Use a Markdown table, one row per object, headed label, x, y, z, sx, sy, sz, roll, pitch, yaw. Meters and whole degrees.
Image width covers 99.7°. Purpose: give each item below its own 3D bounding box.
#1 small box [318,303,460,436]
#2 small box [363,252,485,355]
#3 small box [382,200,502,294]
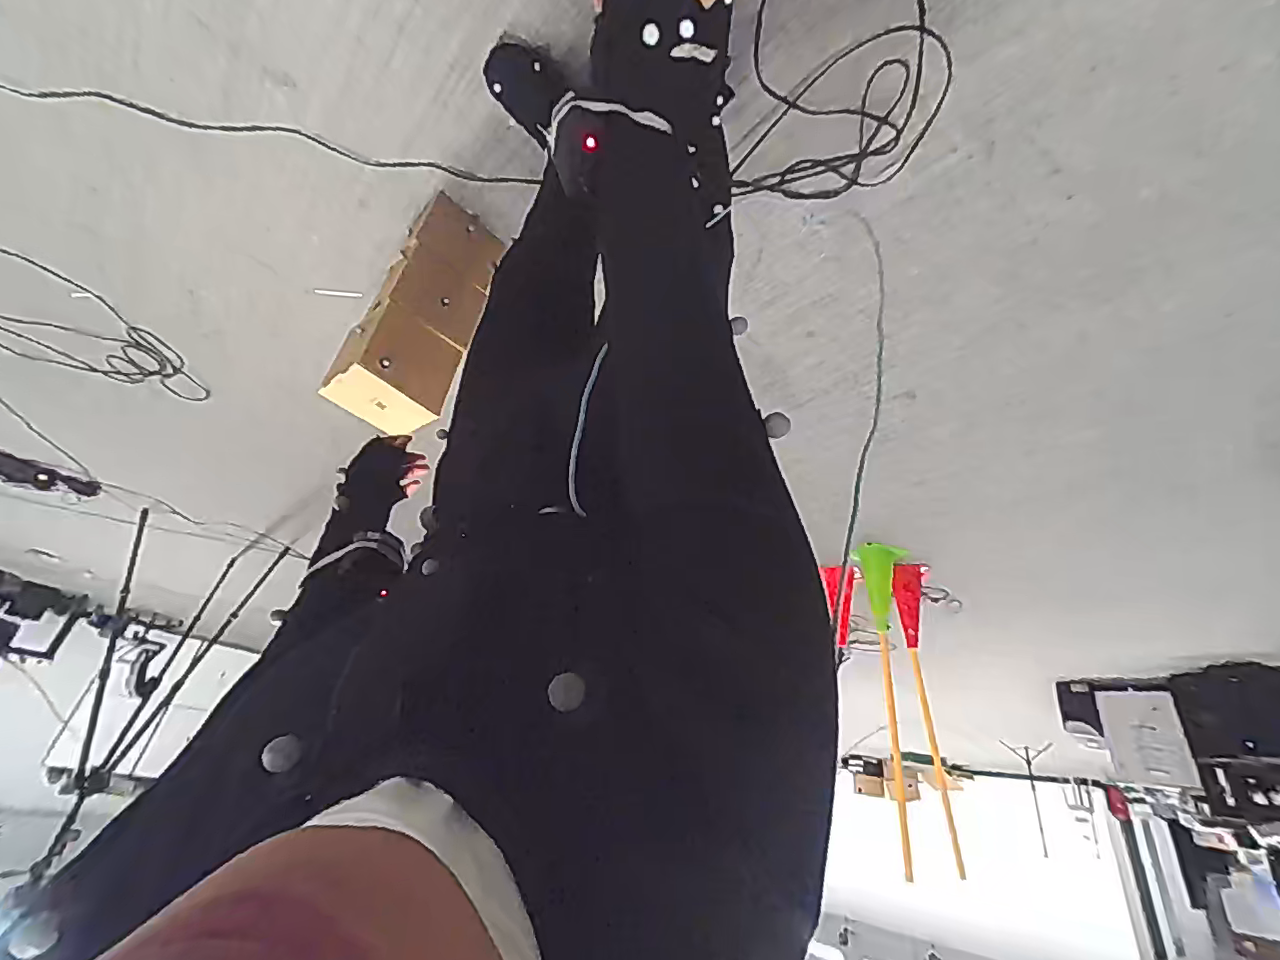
| label | x | y | z | sx | sy | sz | roll | pitch | yaw |
| --- | --- | --- | --- | --- | --- | --- | --- | --- | --- |
| small box | -0.497 | -0.219 | 1.093 | 0.168 | 0.176 | 0.179 | -14 | 142 | 36 |
| small box | -0.467 | -0.360 | 1.168 | 0.168 | 0.176 | 0.179 | -18 | 141 | 40 |
| small box | -0.448 | -0.506 | 1.243 | 0.168 | 0.176 | 0.179 | -19 | 139 | 40 |
